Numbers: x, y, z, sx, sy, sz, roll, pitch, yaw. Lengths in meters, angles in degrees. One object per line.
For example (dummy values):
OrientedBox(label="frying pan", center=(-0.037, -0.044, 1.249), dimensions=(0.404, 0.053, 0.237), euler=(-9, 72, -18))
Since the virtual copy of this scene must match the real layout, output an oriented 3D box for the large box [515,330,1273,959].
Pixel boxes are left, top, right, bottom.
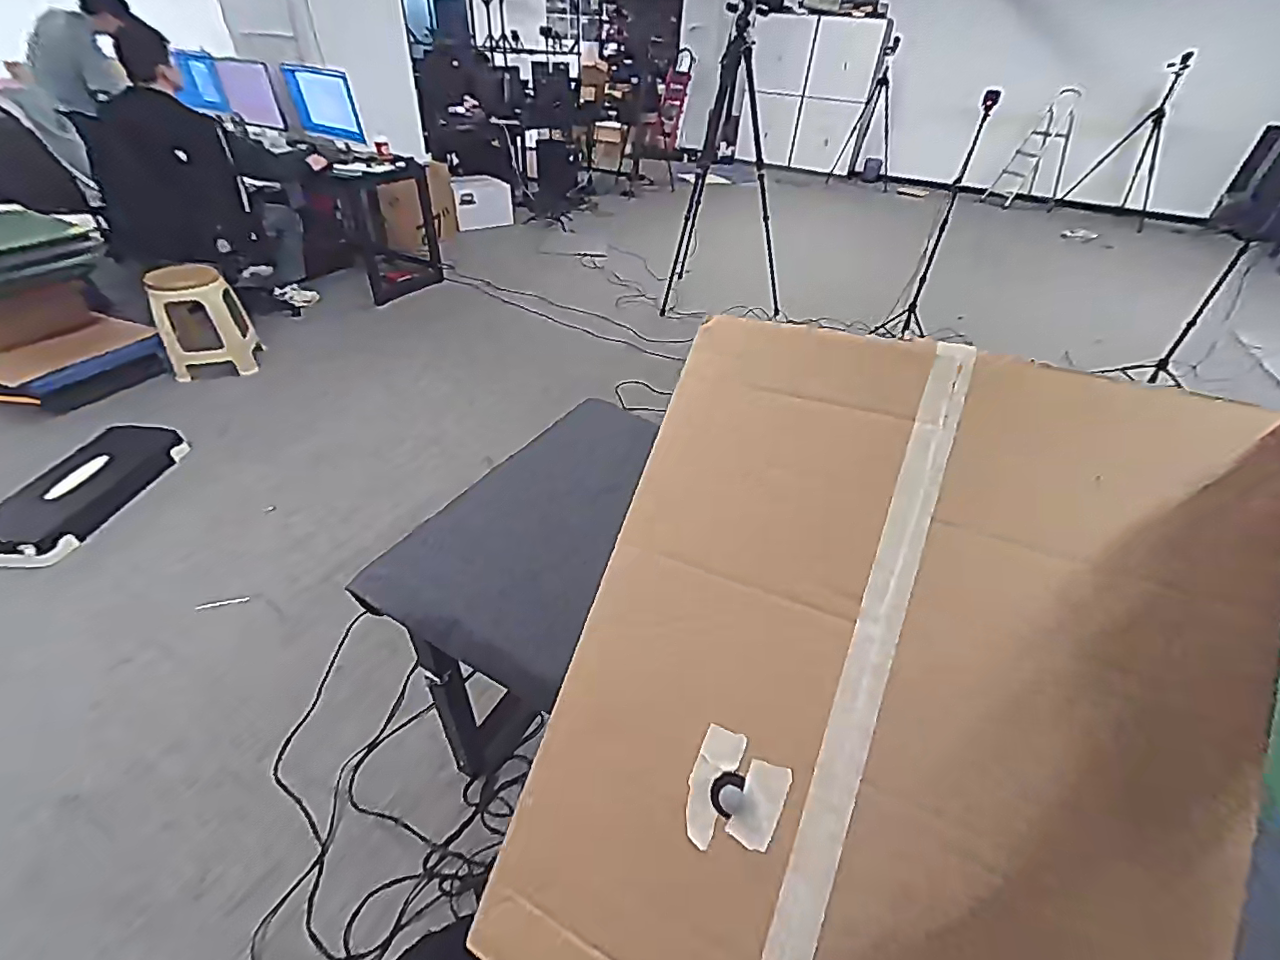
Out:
OrientedBox(label="large box", center=(0.165, 0.152, 0.435), dimensions=(0.320, 0.320, 0.408), euler=(16, 81, 20))
